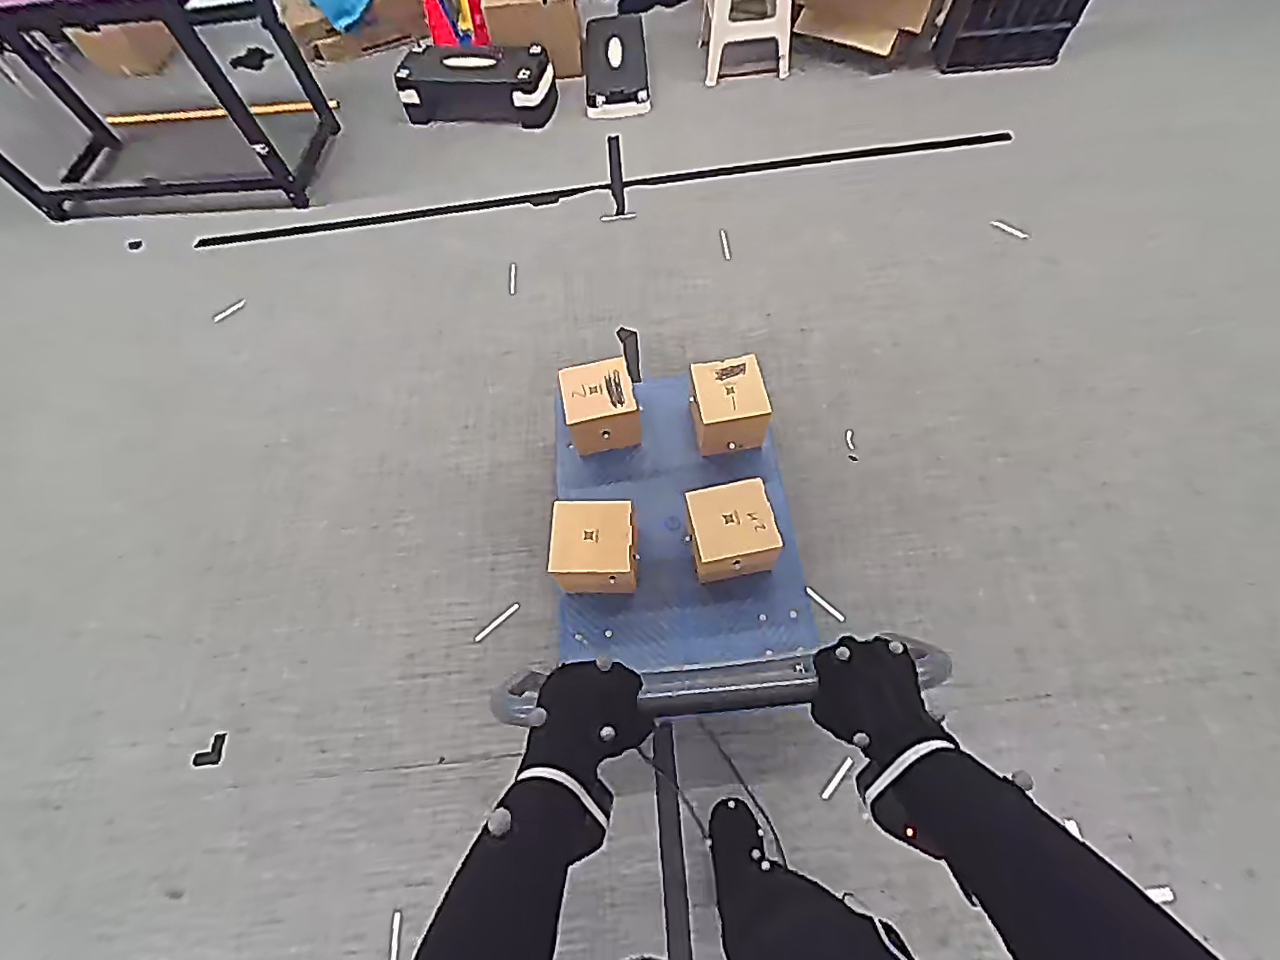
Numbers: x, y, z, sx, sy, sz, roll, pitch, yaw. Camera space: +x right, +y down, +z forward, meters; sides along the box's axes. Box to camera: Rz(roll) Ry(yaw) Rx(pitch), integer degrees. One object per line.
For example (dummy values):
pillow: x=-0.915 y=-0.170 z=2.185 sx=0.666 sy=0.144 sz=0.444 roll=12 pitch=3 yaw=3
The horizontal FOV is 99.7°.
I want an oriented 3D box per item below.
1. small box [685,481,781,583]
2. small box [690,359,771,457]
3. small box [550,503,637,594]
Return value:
small box: x=0.205 y=0.124 z=1.234 sx=0.179 sy=0.176 sz=0.168 roll=-11 pitch=64 yaw=-1
small box: x=0.222 y=-0.180 z=1.380 sx=0.168 sy=0.176 sz=0.179 roll=-9 pitch=65 yaw=0
small box: x=-0.100 y=0.161 z=1.240 sx=0.179 sy=0.176 sz=0.168 roll=0 pitch=64 yaw=2
